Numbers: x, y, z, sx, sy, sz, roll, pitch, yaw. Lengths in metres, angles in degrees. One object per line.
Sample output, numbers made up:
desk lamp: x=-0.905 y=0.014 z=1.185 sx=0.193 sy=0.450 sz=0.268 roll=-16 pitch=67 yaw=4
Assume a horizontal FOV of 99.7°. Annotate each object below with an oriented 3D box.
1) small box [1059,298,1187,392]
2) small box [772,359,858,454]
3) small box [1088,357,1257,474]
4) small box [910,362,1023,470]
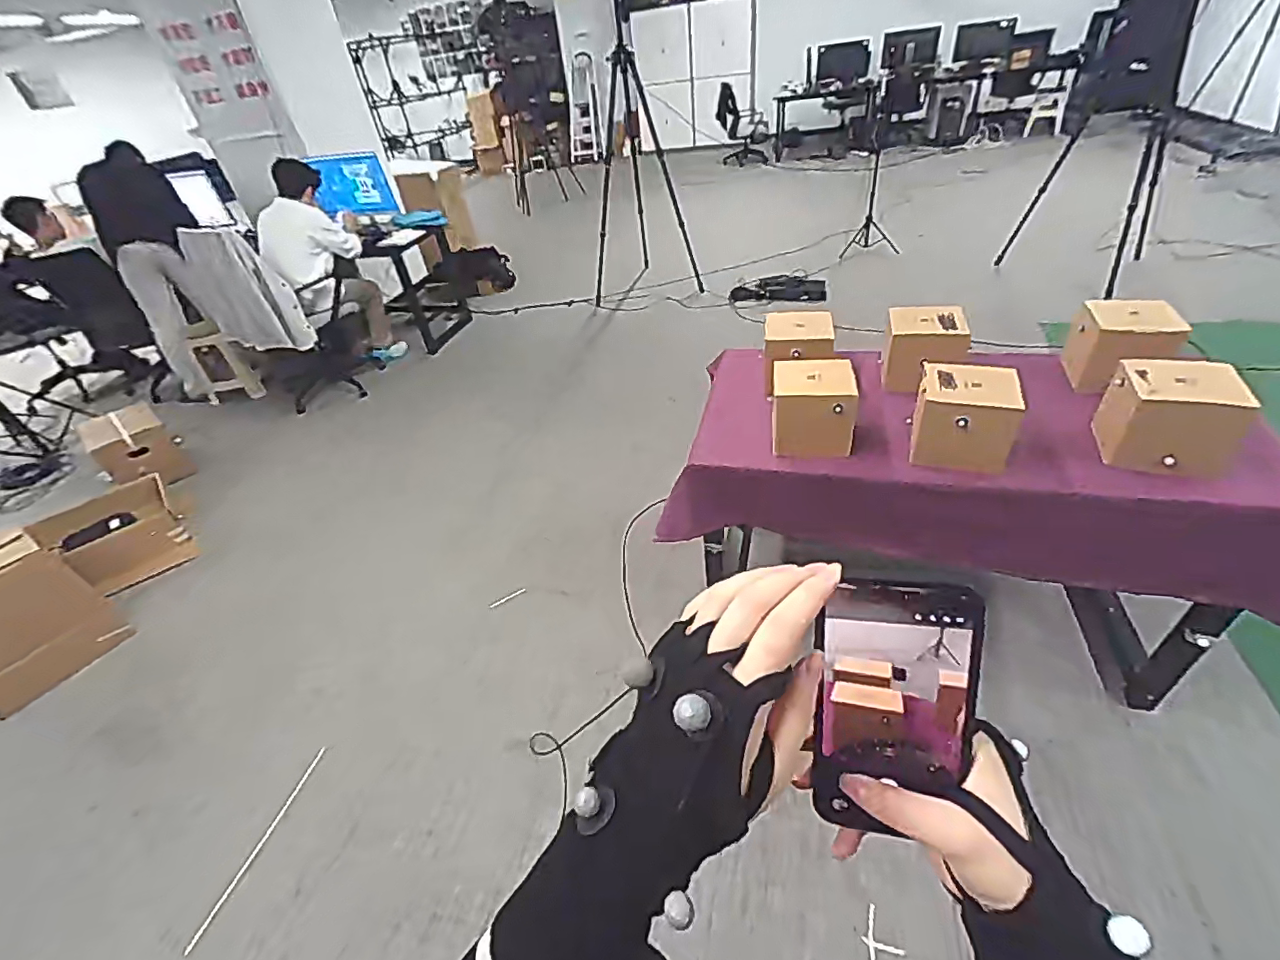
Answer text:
small box: x=1.161 y=-0.328 z=1.319 sx=0.168 sy=0.176 sz=0.179 roll=7 pitch=42 yaw=20
small box: x=0.404 y=-0.173 z=1.277 sx=0.179 sy=0.176 sz=0.168 roll=2 pitch=40 yaw=11
small box: x=1.061 y=-0.130 z=1.097 sx=0.179 sy=0.176 sz=0.168 roll=10 pitch=42 yaw=21
small box: x=0.699 y=-0.139 z=1.177 sx=0.179 sy=0.176 sz=0.168 roll=10 pitch=42 yaw=20
